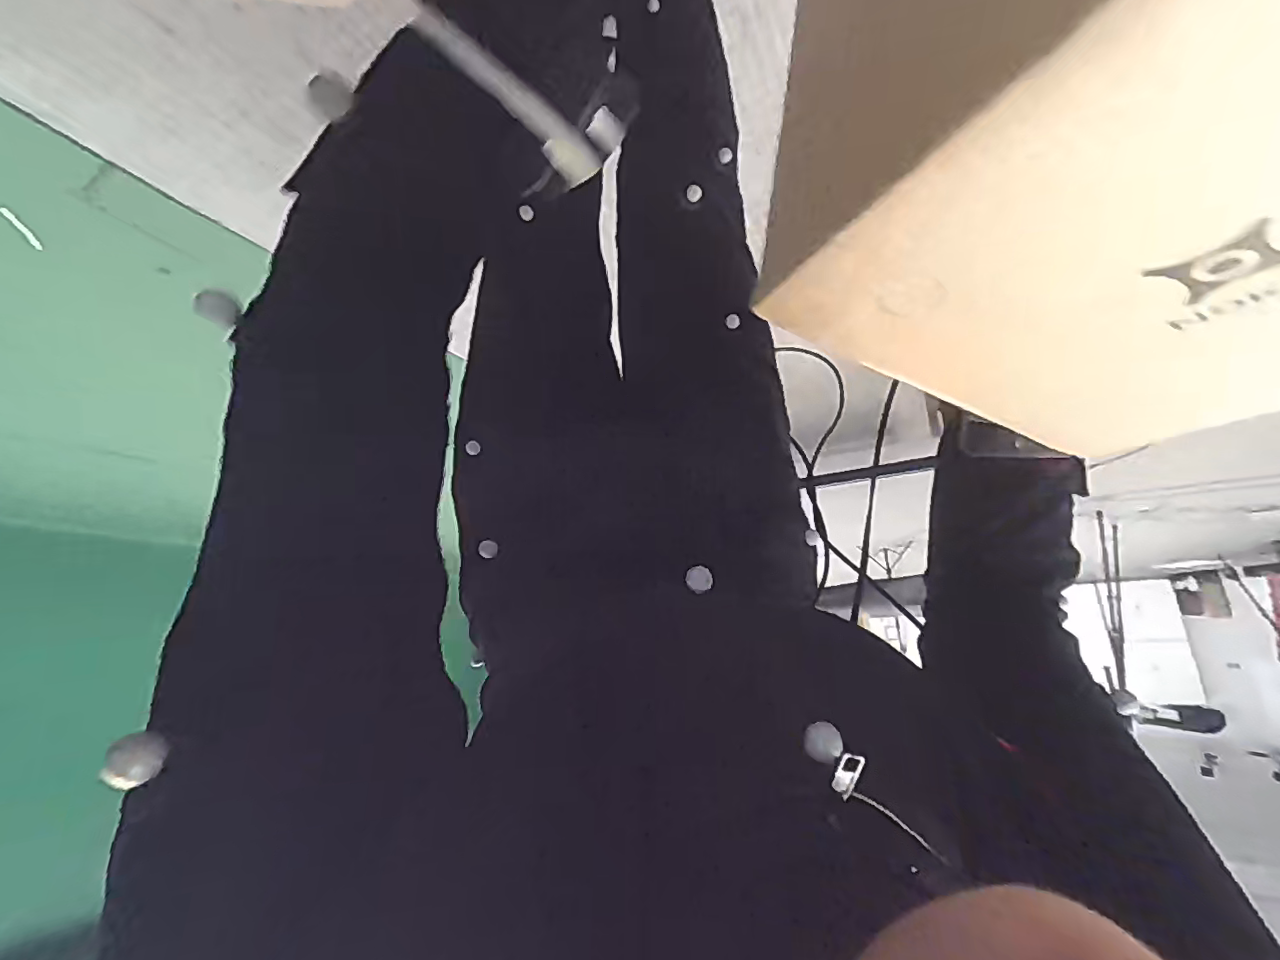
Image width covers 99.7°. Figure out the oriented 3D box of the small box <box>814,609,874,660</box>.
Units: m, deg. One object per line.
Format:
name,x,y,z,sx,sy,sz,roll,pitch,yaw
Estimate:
small box,0.743,0.562,1.964,0.168,0.176,0.179,-12,160,27
